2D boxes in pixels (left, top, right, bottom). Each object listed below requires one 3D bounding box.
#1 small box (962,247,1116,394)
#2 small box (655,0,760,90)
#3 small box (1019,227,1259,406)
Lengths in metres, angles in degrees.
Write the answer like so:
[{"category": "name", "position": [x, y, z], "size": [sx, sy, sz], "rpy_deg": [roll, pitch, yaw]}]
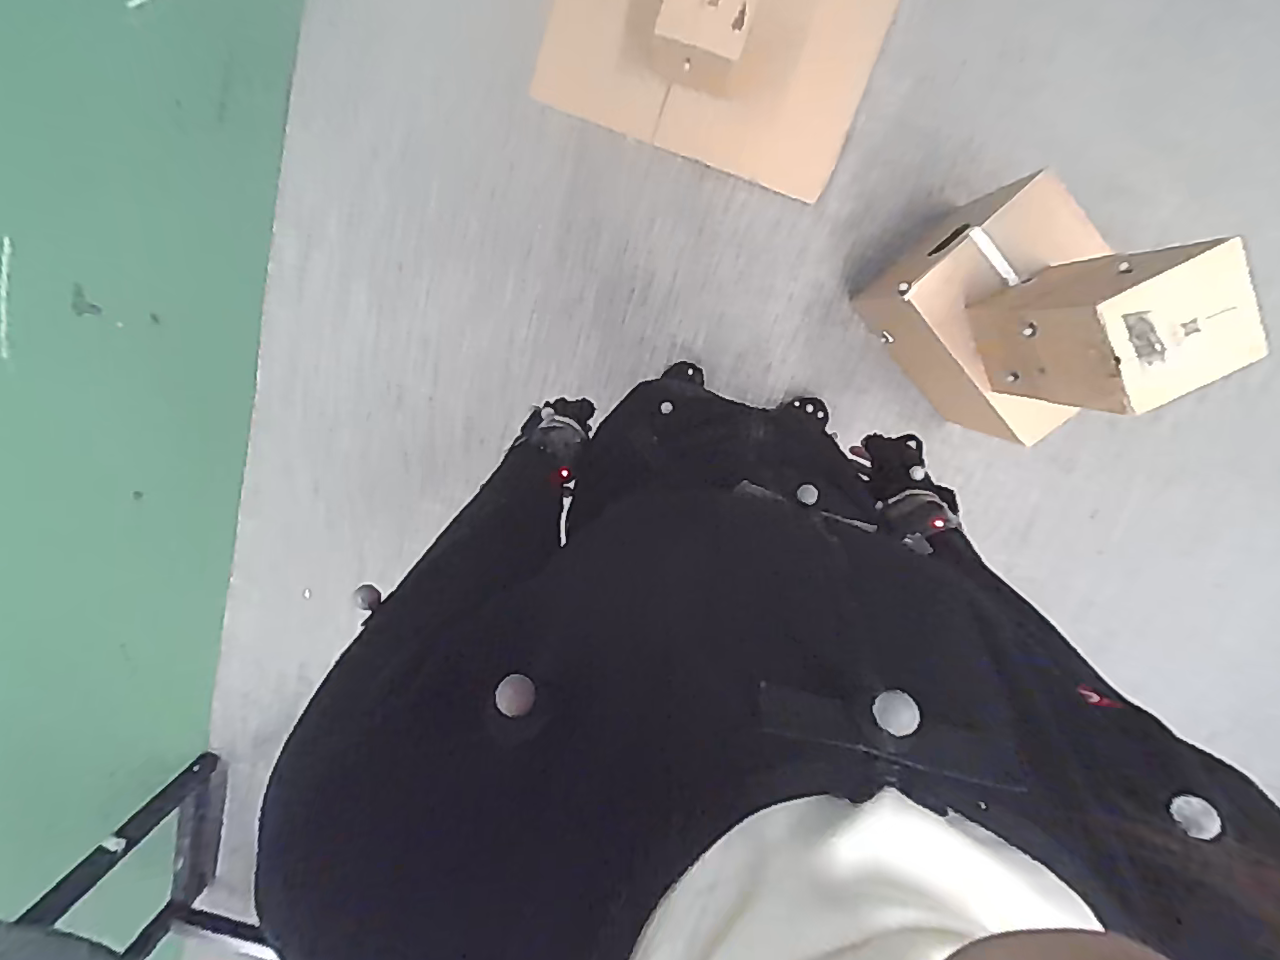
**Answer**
[{"category": "small box", "position": [0.699, -0.268, 0.929], "size": [0.168, 0.176, 0.179], "rpy_deg": [-26, 101, 9]}, {"category": "small box", "position": [0.138, -0.928, 1.088], "size": [0.179, 0.176, 0.168], "rpy_deg": [16, 103, 0]}, {"category": "small box", "position": [0.686, -0.225, 0.770], "size": [0.179, 0.176, 0.168], "rpy_deg": [-29, 102, 11]}]
